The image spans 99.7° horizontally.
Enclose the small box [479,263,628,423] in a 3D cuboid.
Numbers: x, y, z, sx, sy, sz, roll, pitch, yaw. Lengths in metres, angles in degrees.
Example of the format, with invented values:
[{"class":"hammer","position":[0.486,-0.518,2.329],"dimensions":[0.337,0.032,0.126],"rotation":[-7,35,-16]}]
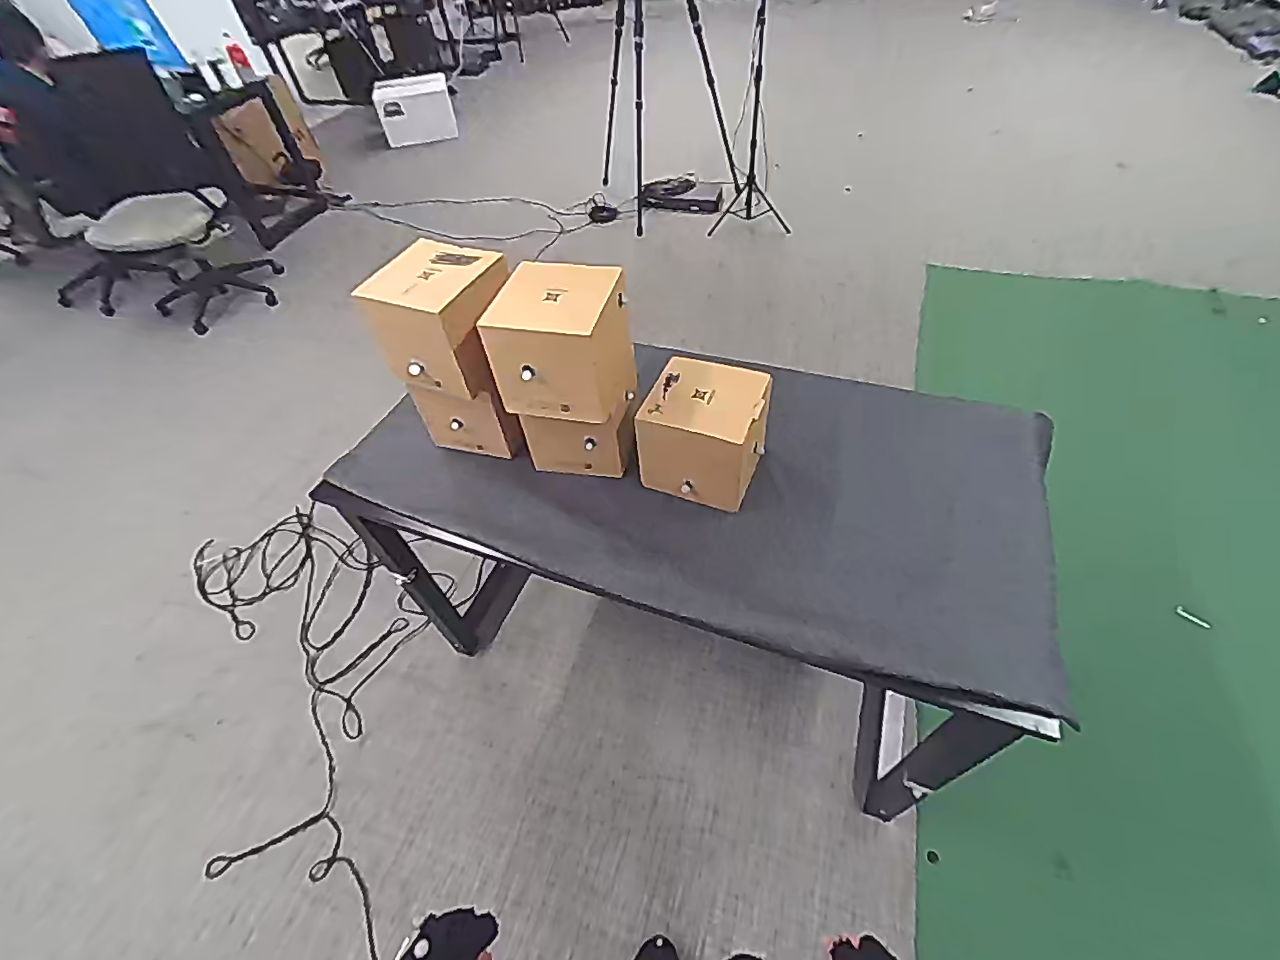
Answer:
[{"class":"small box","position":[-0.119,-0.209,0.832],"dimensions":[0.168,0.176,0.179],"rotation":[8,51,10]}]
